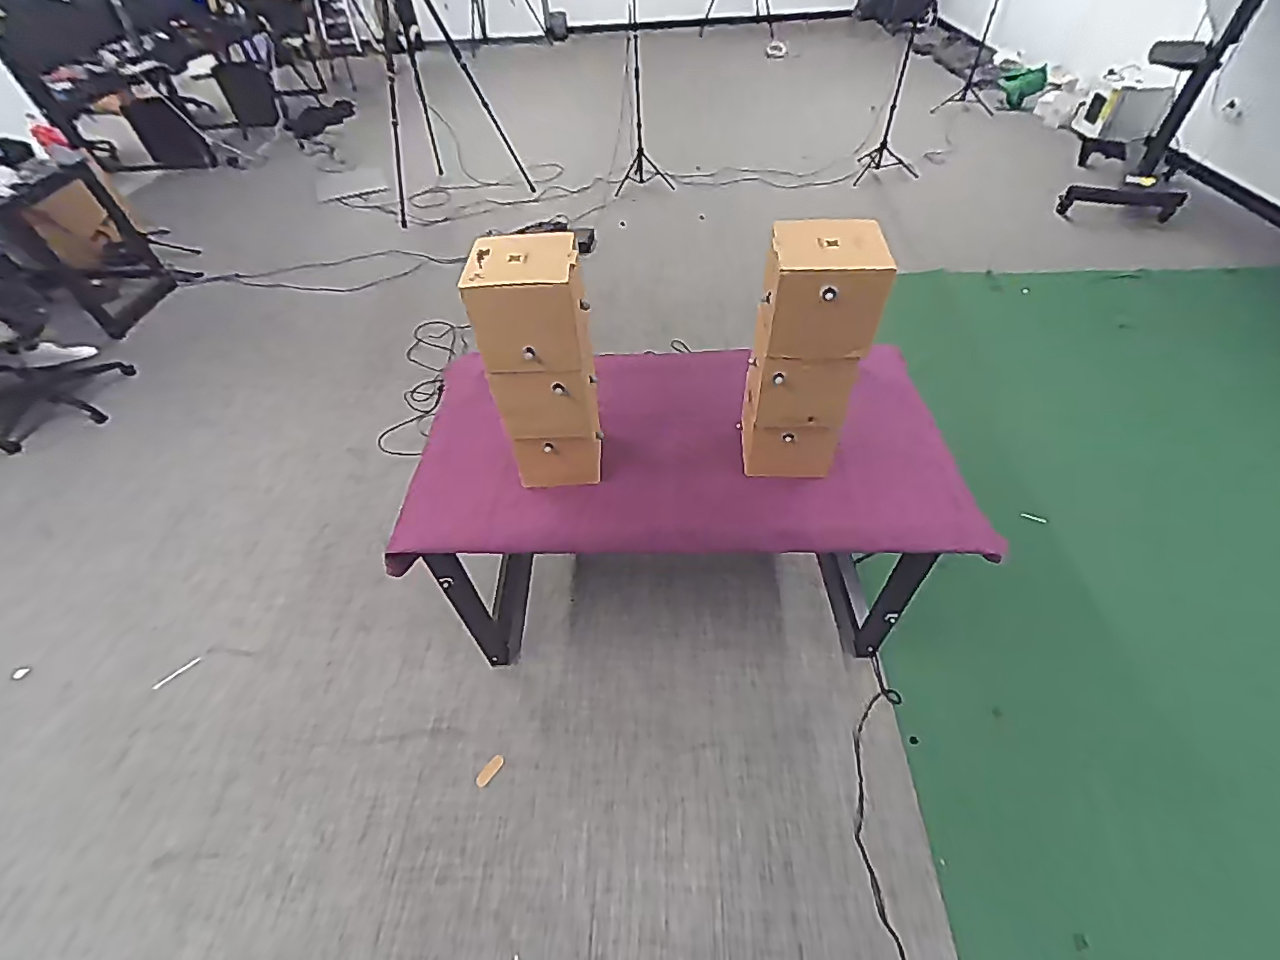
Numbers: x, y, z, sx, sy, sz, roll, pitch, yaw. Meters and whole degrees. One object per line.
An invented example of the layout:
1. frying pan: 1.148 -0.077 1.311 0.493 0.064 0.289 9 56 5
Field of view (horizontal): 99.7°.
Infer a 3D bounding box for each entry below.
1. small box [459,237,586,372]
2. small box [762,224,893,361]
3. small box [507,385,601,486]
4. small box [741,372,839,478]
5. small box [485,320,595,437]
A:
1. small box: -0.190 -0.302 0.940 0.179 0.176 0.168 -1 49 1
2. small box: 0.306 -0.319 0.927 0.179 0.176 0.168 3 50 5
3. small box: -0.180 -0.101 1.200 0.179 0.176 0.168 -3 49 1
4. small box: 0.317 -0.118 1.186 0.179 0.176 0.168 1 49 4
5. small box: -0.184 -0.198 1.065 0.179 0.176 0.168 -1 49 2
